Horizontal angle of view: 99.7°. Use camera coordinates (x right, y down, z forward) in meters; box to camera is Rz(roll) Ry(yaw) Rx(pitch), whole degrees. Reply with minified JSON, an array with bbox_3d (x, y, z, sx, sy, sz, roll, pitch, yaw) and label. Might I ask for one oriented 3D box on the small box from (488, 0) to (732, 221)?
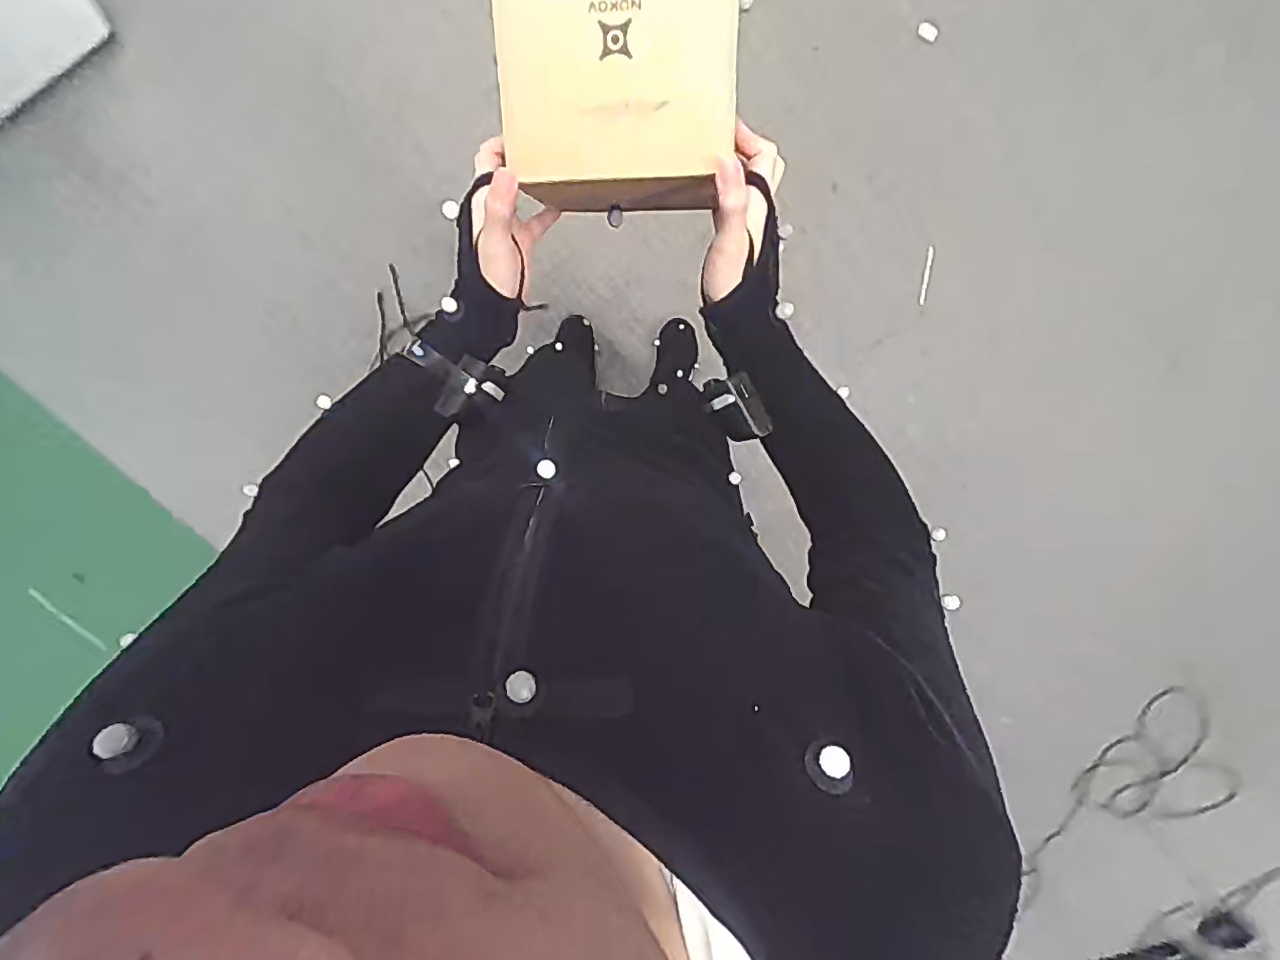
[{"bbox_3d":[-0.015,-0.321,0.439,0.168,0.176,0.179,0,108,5],"label":"small box"}]
